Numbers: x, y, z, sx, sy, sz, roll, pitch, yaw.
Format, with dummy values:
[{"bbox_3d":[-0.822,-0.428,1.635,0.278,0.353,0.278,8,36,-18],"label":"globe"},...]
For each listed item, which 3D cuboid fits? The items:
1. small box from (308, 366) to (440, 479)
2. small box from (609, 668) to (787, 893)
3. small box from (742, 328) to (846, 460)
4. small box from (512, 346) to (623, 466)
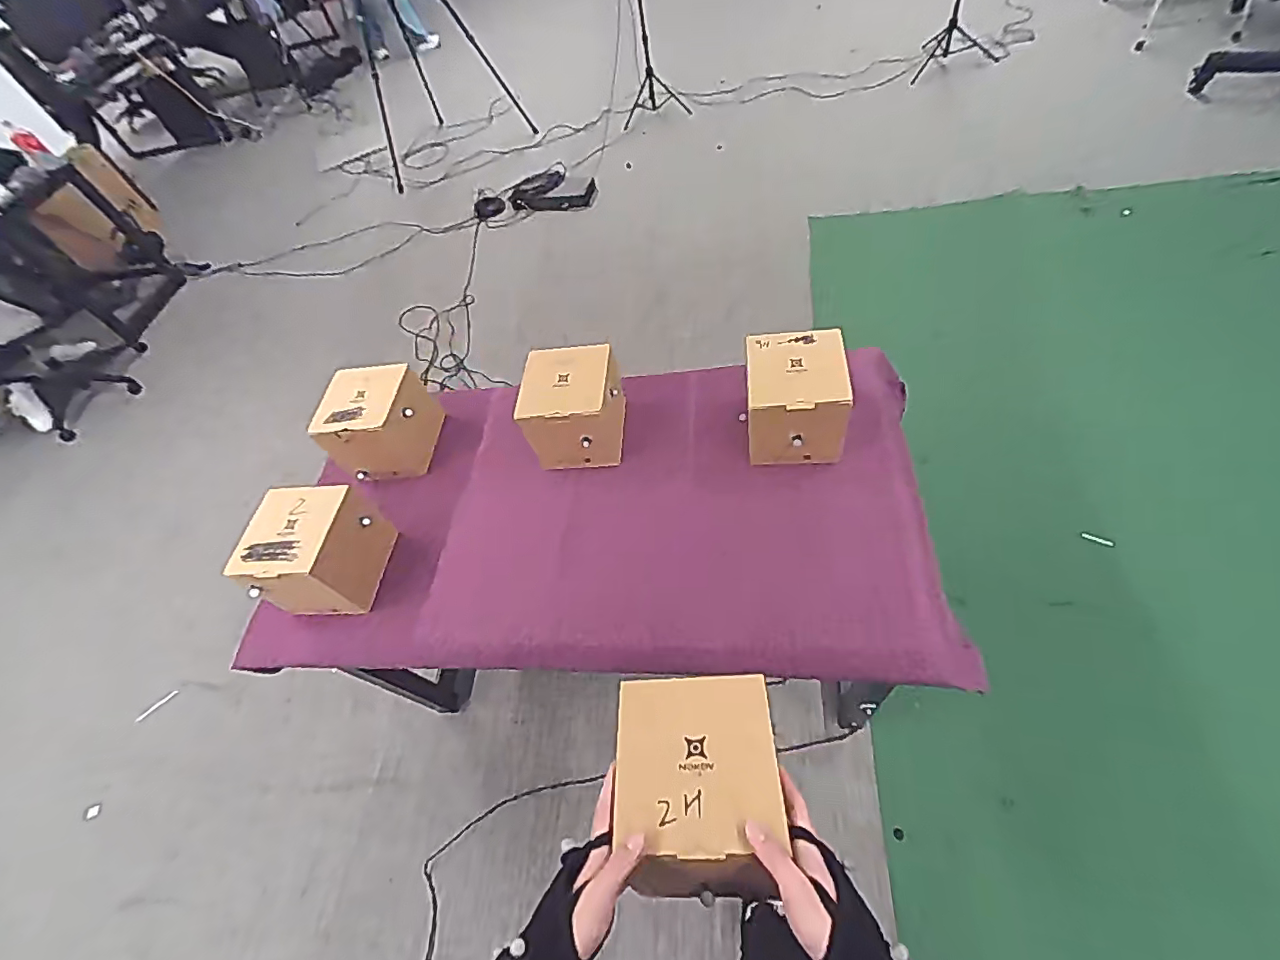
[{"bbox_3d":[-0.549,-0.113,1.147,0.168,0.176,0.179,-4,55,10],"label":"small box"},{"bbox_3d":[0.066,0.336,0.608,0.168,0.176,0.179,-6,41,7],"label":"small box"},{"bbox_3d":[0.273,-0.147,0.985,0.168,0.176,0.179,-2,57,12],"label":"small box"},{"bbox_3d":[-0.133,-0.138,1.073,0.168,0.176,0.179,-3,56,10],"label":"small box"}]
